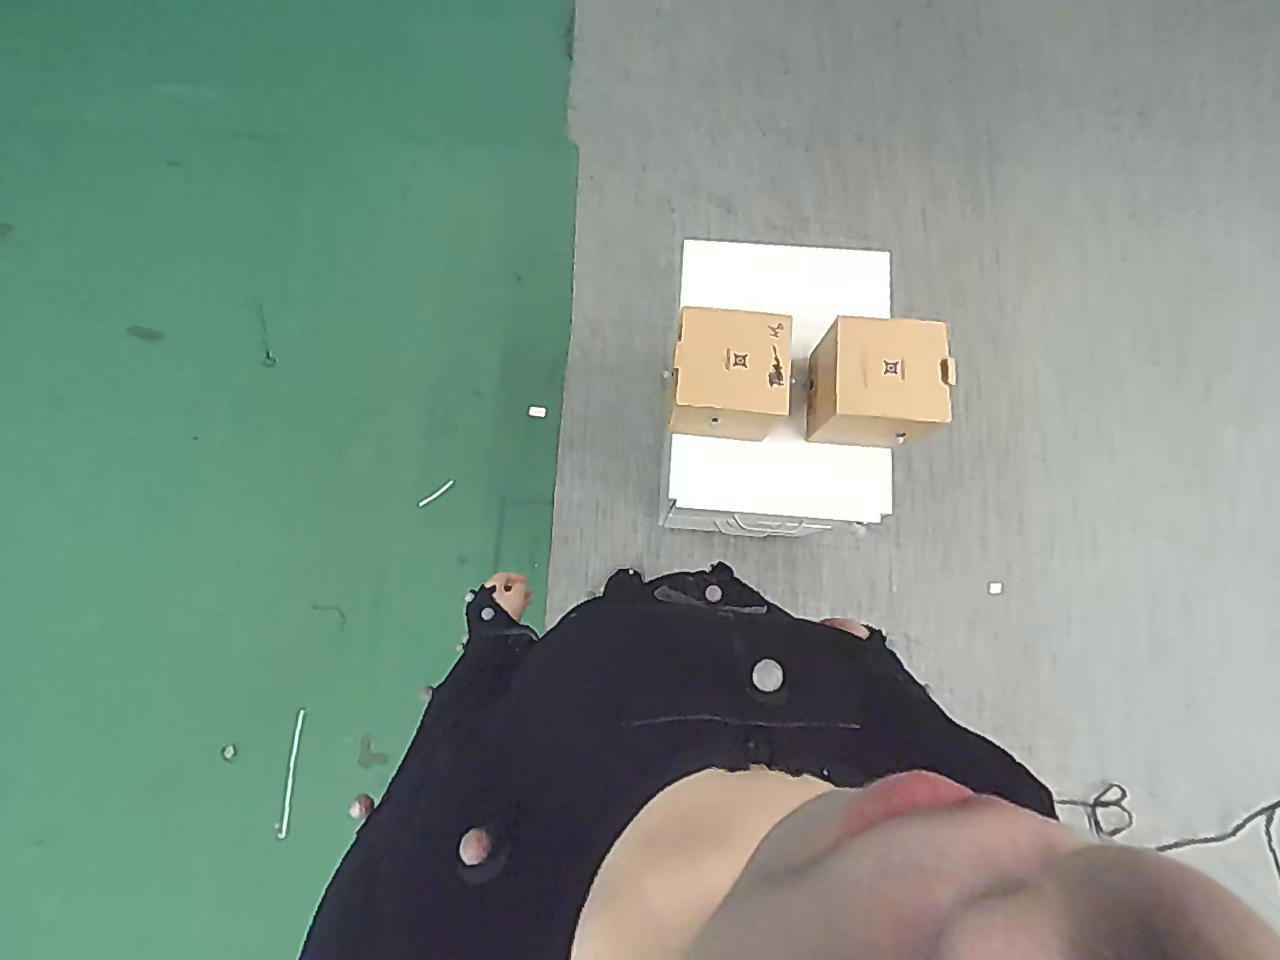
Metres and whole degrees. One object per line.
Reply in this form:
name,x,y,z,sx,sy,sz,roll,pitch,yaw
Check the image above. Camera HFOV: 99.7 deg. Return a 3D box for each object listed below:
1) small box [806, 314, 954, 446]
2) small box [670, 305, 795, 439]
small box,0.391,-0.157,0.901,0.179,0.176,0.168,5,80,3
small box,0.146,-0.171,0.902,0.179,0.176,0.168,5,81,0
